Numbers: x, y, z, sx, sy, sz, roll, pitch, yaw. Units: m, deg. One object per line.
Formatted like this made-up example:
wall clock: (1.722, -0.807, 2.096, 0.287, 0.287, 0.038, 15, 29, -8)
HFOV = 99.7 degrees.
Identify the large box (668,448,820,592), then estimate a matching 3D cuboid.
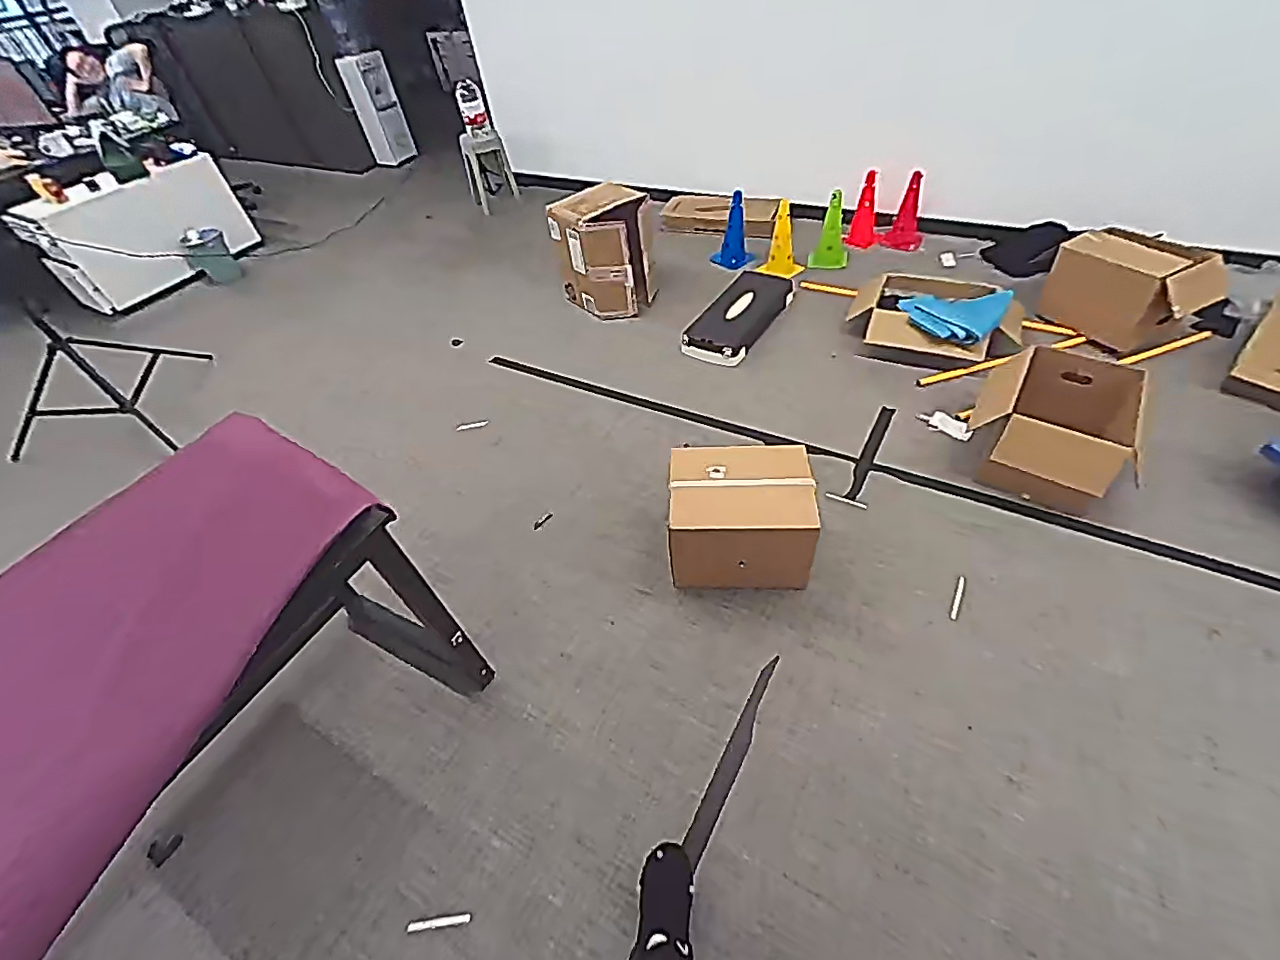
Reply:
large box: (0.299, 0.127, 1.640, 0.408, 0.320, 0.320, -2, 47, 7)
